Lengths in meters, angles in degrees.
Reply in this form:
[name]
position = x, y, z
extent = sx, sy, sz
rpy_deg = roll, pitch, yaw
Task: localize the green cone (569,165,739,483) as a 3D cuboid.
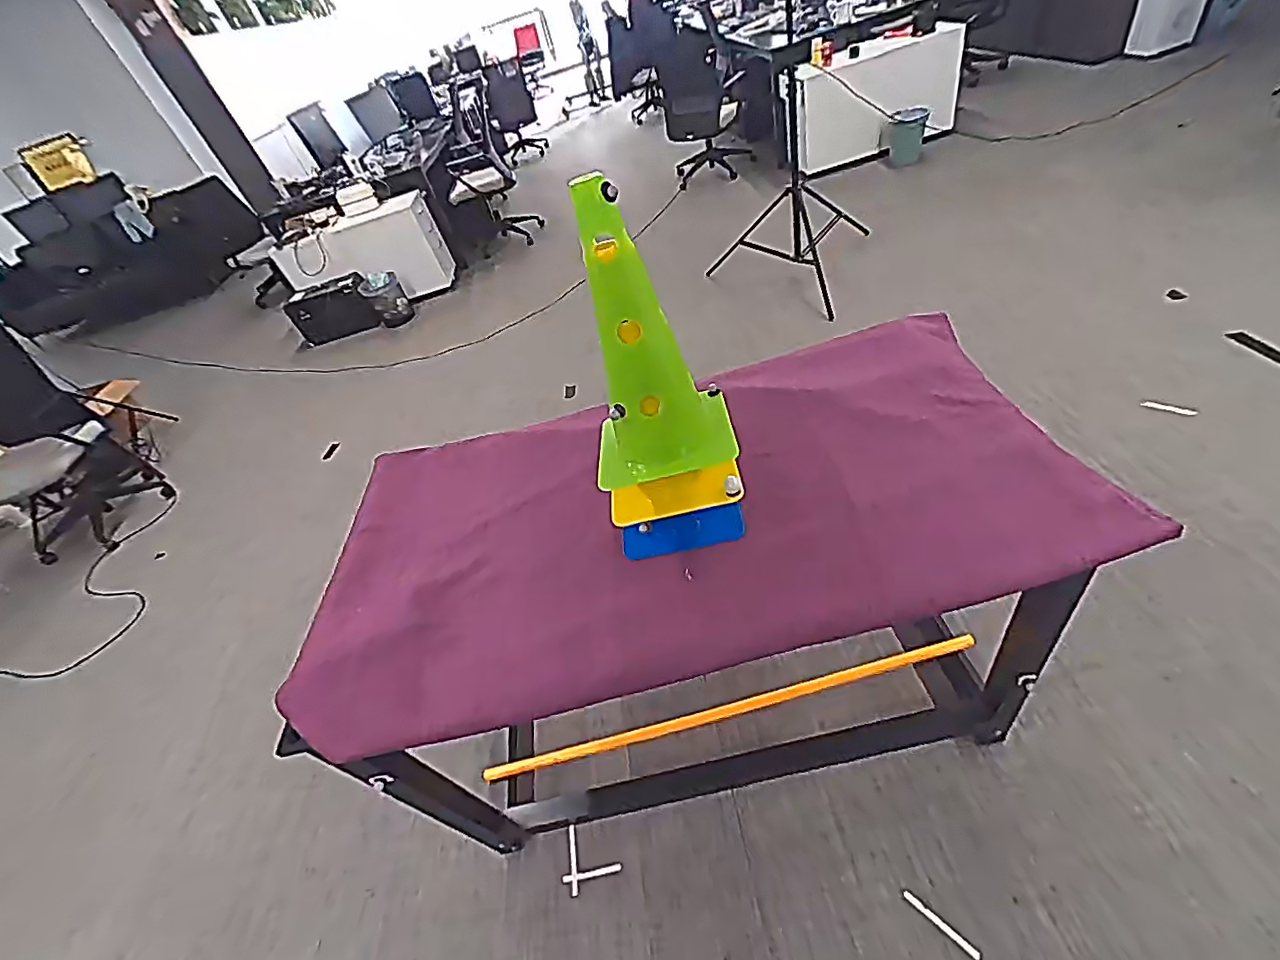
[green cone]
position = -0.014, -0.204, 0.702
extent = 0.200, 0.368, 0.202
rpy_deg = -14, 36, 8
